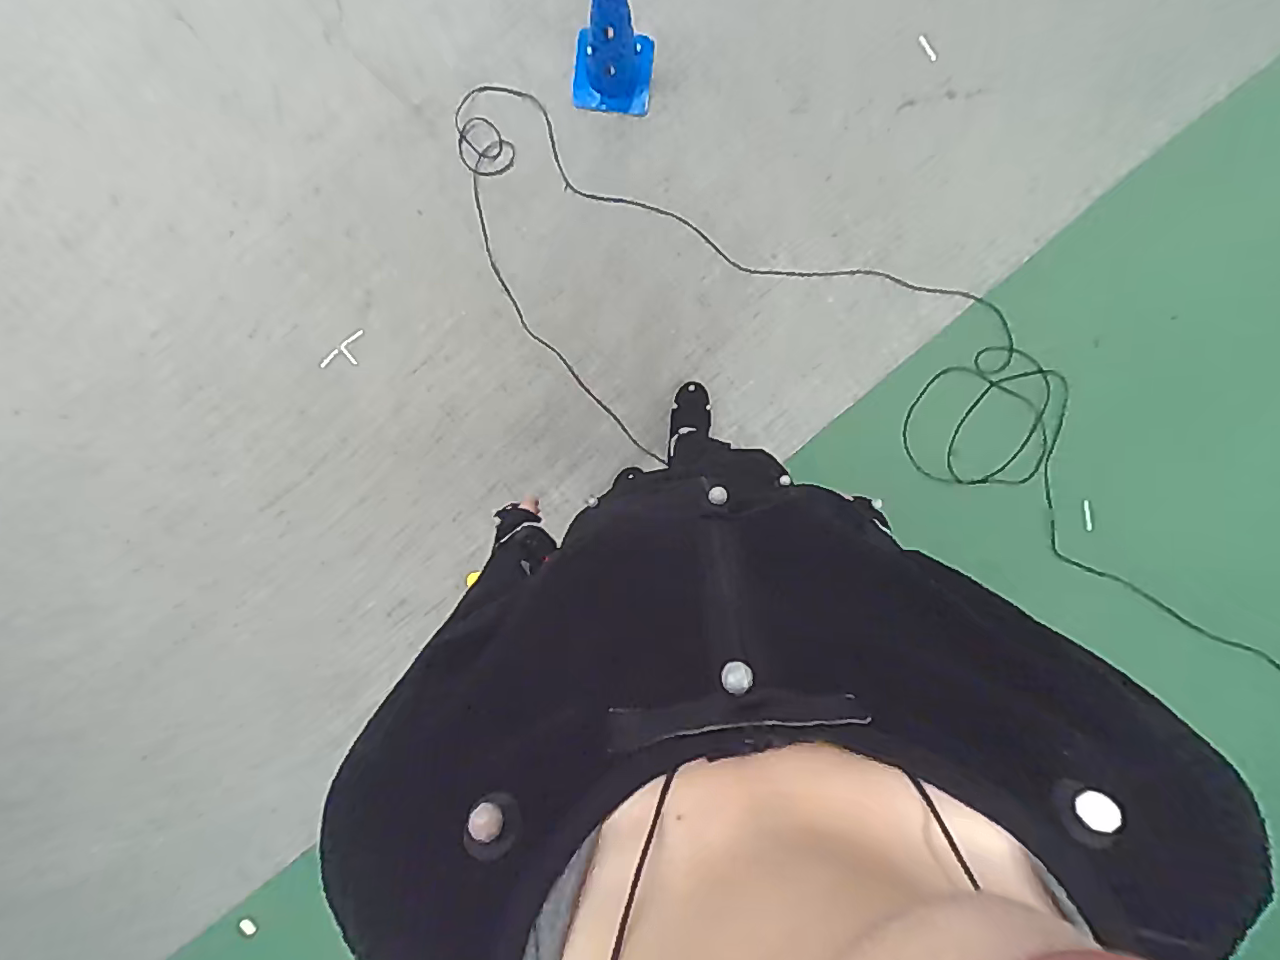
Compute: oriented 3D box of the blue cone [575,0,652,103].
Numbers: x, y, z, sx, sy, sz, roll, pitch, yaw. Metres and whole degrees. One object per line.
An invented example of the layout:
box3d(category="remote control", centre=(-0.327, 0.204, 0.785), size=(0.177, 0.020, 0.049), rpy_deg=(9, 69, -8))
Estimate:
box3d(category="blue cone", centre=(-0.064, -1.059, 1.217), size=(0.192, 0.380, 0.193), rpy_deg=(5, 92, -2))
